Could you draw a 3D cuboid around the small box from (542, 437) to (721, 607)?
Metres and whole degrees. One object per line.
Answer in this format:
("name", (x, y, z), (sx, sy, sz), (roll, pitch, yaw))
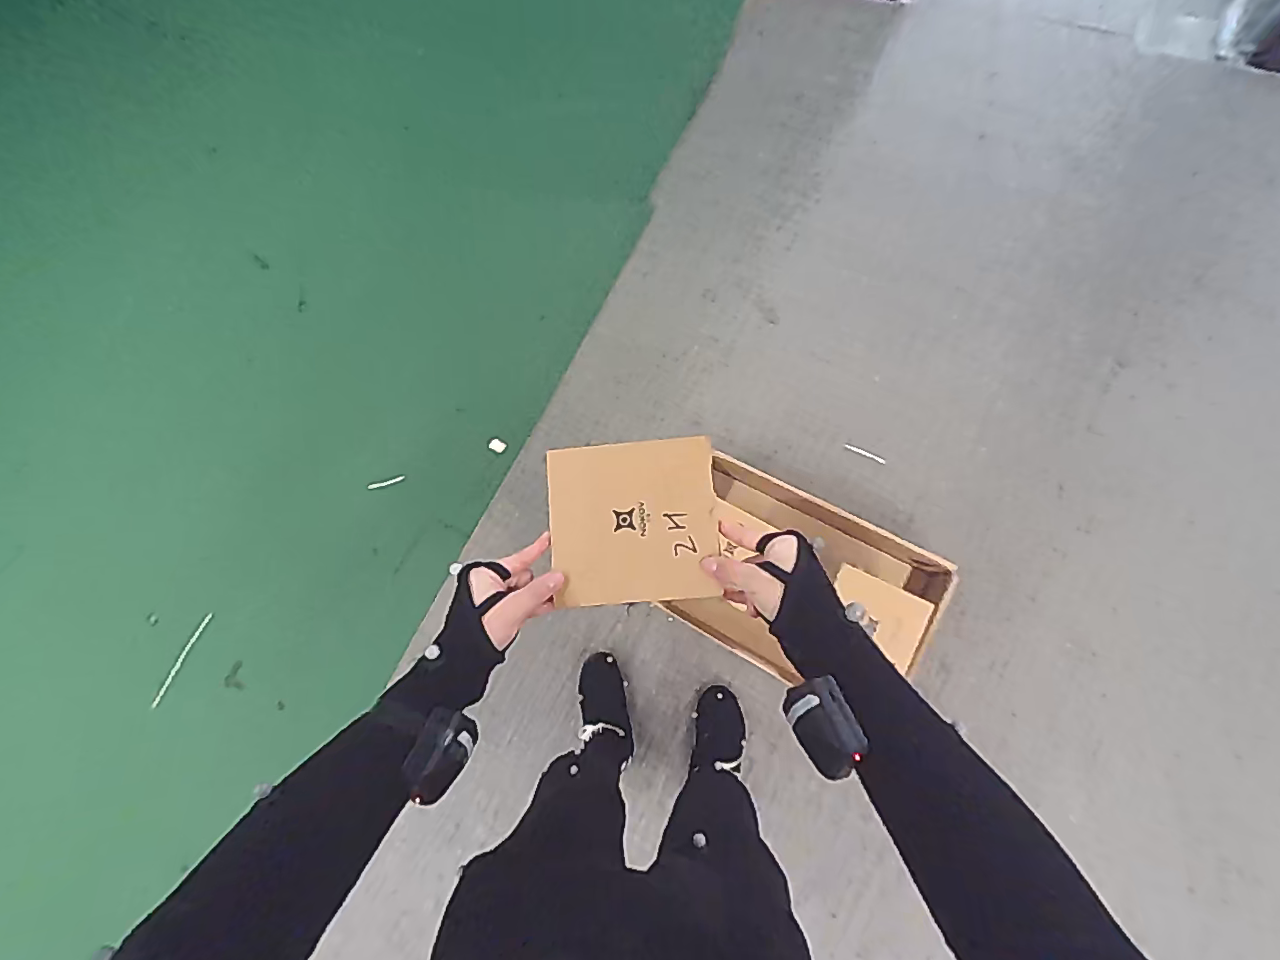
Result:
("small box", (-0.004, 0.056, 0.624), (0.179, 0.176, 0.168), (-5, 80, 4))

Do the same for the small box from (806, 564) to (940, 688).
("small box", (0.443, 0.281, 1.060), (0.179, 0.176, 0.168), (26, 84, 15))
